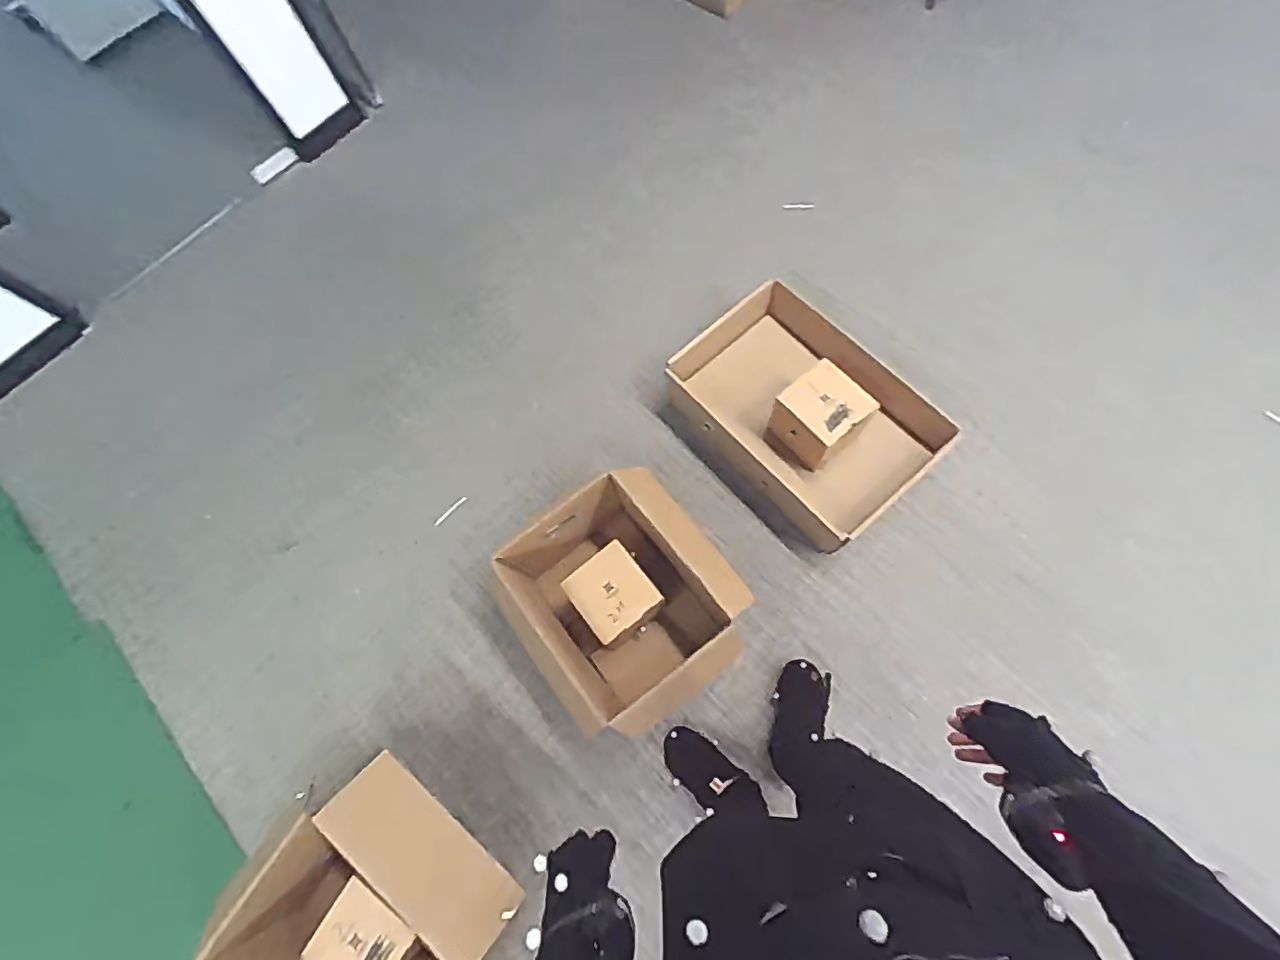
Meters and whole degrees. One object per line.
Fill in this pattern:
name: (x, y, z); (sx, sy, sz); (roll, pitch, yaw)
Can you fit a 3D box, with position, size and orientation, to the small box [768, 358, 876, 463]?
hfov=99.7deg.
small box: (0.443, -0.161, 1.342); (0.168, 0.176, 0.179); (-38, 70, -8)
